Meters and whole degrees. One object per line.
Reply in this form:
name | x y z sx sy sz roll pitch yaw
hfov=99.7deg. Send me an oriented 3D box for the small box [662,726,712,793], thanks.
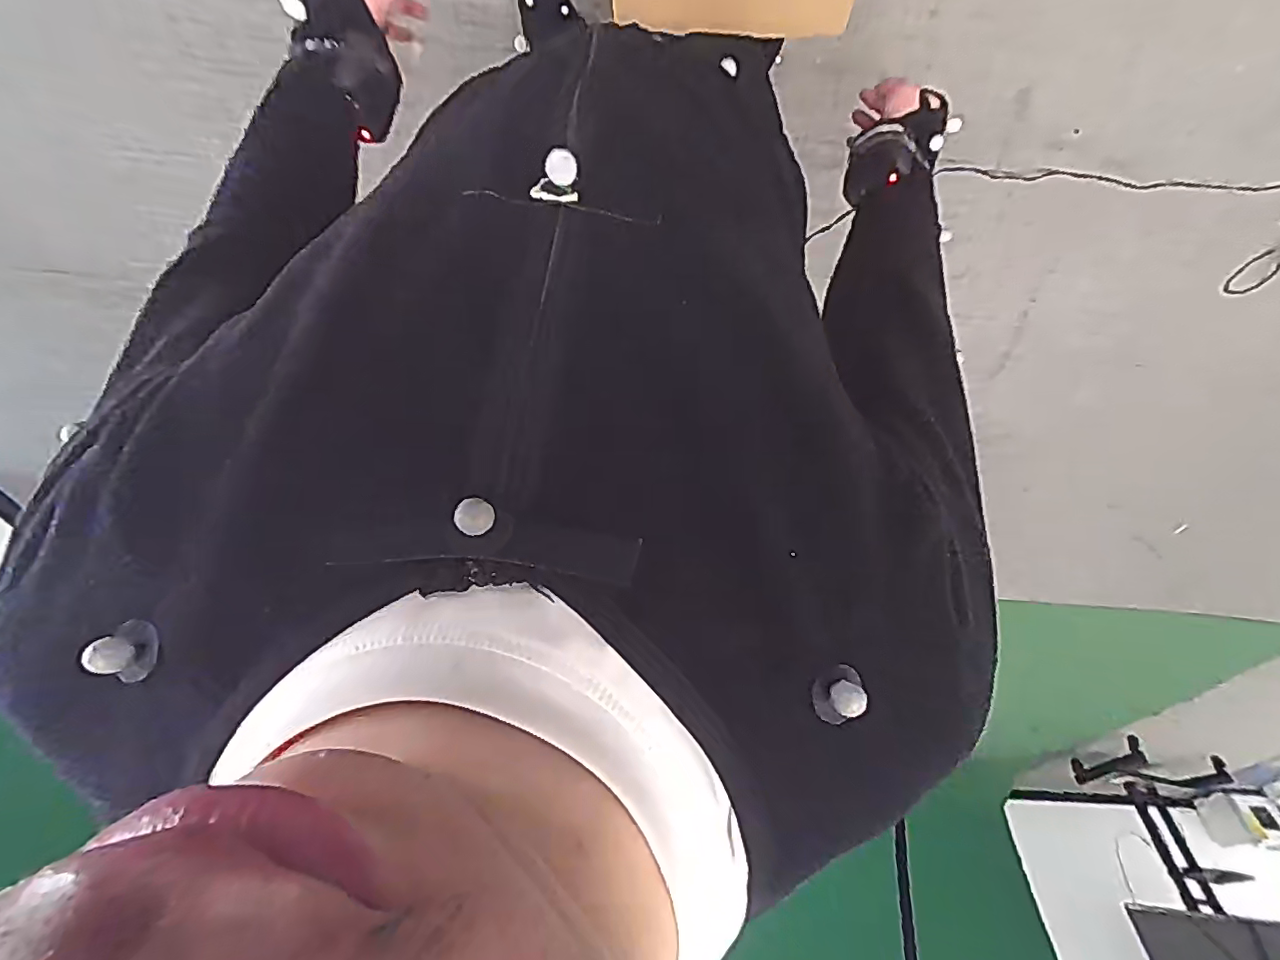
small box | 0.159 0.969 1.877 0.168 0.176 0.179 0 136 4
